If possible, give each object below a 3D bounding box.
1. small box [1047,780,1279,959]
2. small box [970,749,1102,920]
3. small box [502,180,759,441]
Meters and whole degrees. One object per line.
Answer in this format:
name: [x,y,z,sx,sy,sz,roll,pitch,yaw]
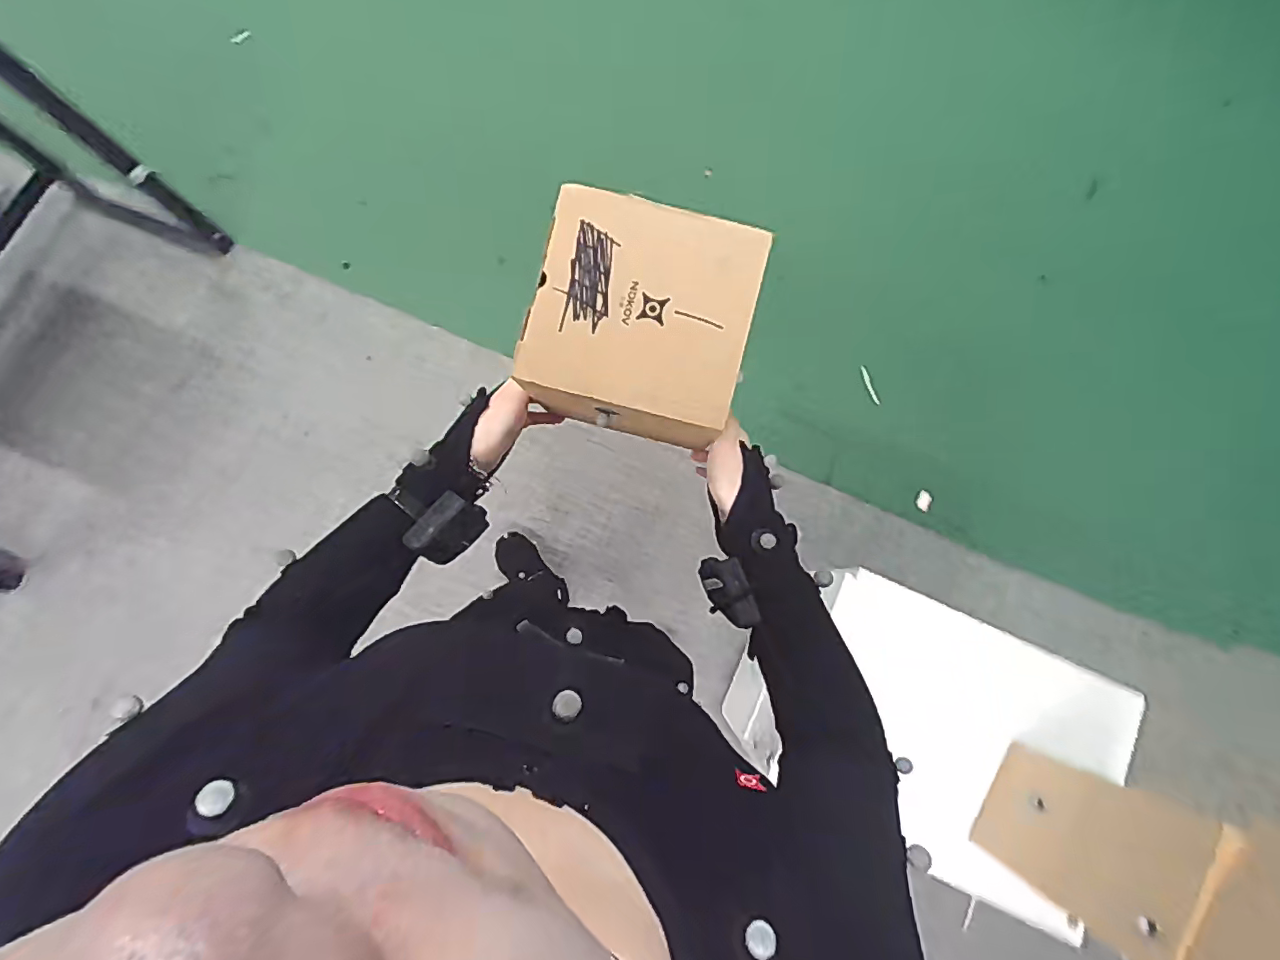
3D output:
small box: [0.623,0.486,0.619,0.168,0.176,0.179,31,80,6]
small box: [0.622,0.524,0.778,0.168,0.176,0.179,32,80,6]
small box: [-0.008,-0.139,0.510,0.179,0.176,0.168,14,87,0]
